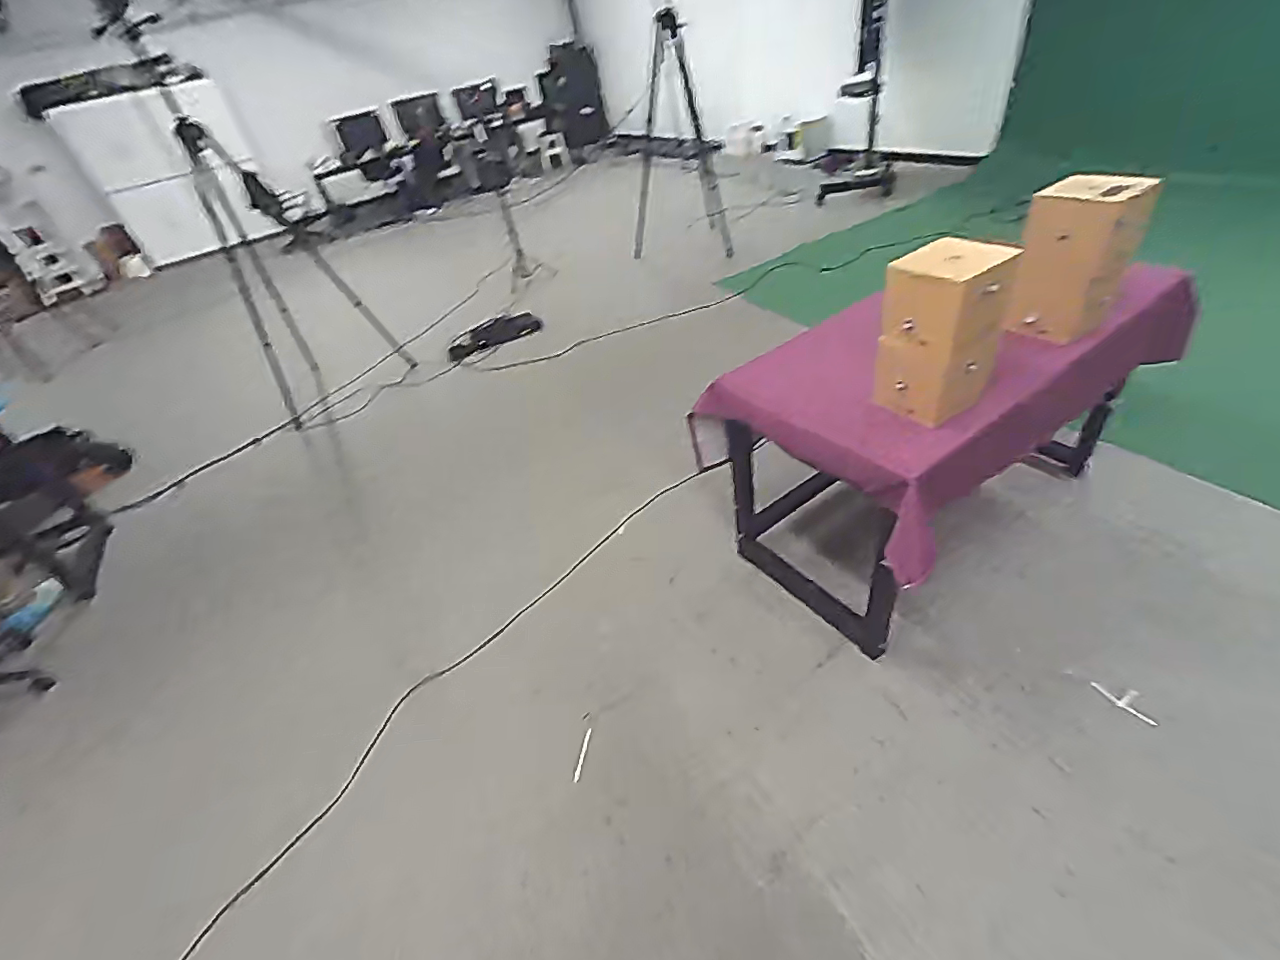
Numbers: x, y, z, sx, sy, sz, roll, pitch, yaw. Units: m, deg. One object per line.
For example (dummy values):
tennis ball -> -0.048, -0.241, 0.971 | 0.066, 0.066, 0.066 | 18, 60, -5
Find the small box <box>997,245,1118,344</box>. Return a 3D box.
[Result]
small box -> 1.048, -0.471, 1.374 | 0.179, 0.176, 0.168 | -30, 42, -18

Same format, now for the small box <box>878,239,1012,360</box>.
small box -> 0.618, -0.374, 1.120 | 0.179, 0.176, 0.168 | -30, 42, -18

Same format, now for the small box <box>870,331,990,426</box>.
small box -> 0.644, -0.248, 1.221 | 0.179, 0.176, 0.168 | -29, 42, -18
